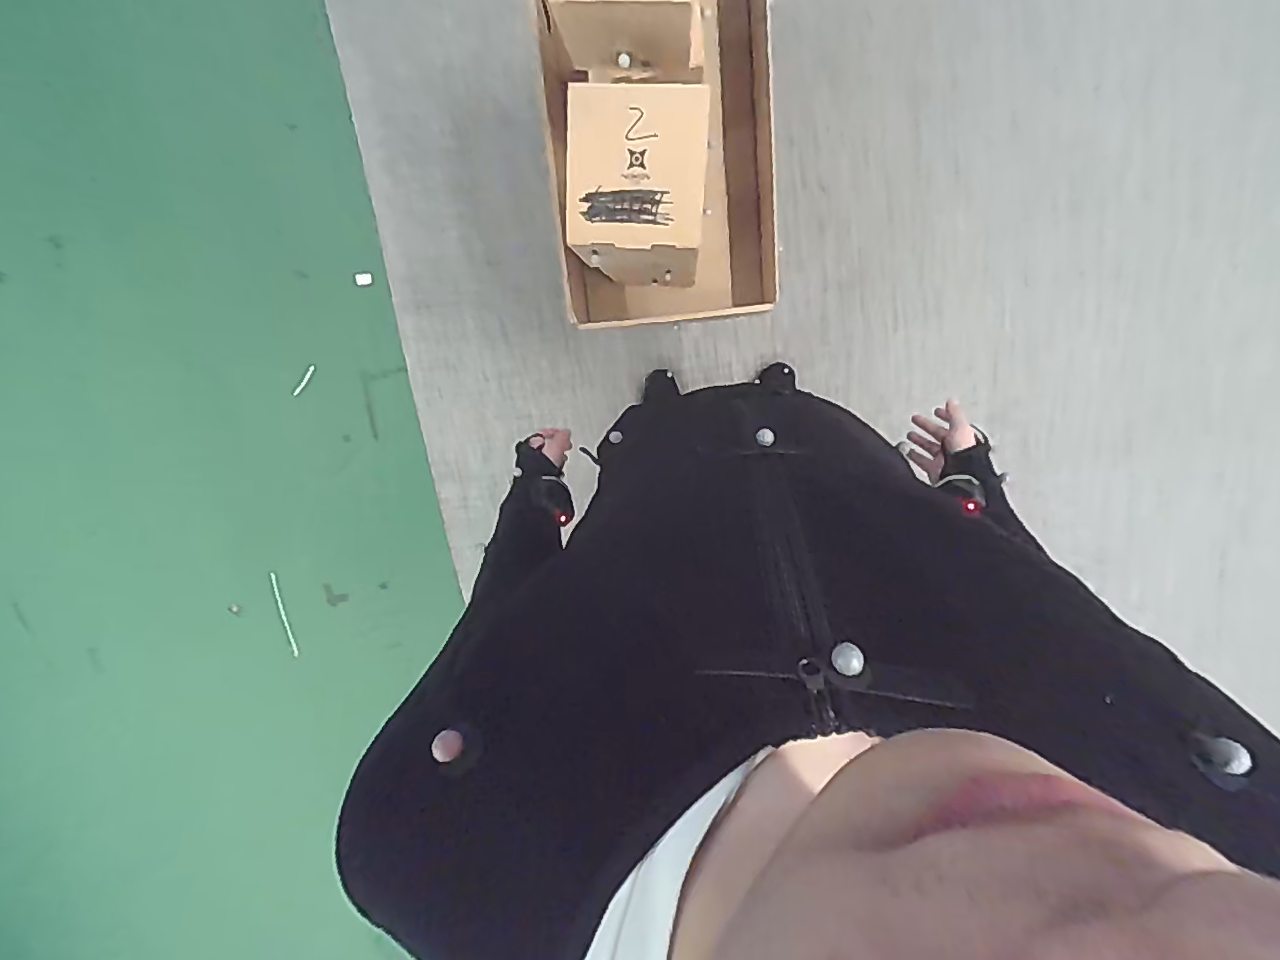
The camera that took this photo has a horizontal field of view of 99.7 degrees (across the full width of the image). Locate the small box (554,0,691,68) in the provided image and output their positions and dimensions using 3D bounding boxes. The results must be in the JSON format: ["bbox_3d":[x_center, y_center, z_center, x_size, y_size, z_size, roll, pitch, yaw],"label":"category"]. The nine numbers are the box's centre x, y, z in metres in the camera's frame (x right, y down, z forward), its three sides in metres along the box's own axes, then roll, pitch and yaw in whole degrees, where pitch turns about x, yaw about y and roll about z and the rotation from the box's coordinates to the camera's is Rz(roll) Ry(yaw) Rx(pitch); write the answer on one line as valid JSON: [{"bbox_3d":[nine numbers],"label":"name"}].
[{"bbox_3d":[-0.018,-0.643,0.656,0.168,0.176,0.179,3,106,3],"label":"small box"}]

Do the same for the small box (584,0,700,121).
[{"bbox_3d":[-0.002,-0.681,0.816,0.168,0.176,0.179,-6,105,5],"label":"small box"}]

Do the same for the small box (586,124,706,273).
[{"bbox_3d":[0.012,-0.438,0.869,0.168,0.176,0.179,5,103,3],"label":"small box"}]
